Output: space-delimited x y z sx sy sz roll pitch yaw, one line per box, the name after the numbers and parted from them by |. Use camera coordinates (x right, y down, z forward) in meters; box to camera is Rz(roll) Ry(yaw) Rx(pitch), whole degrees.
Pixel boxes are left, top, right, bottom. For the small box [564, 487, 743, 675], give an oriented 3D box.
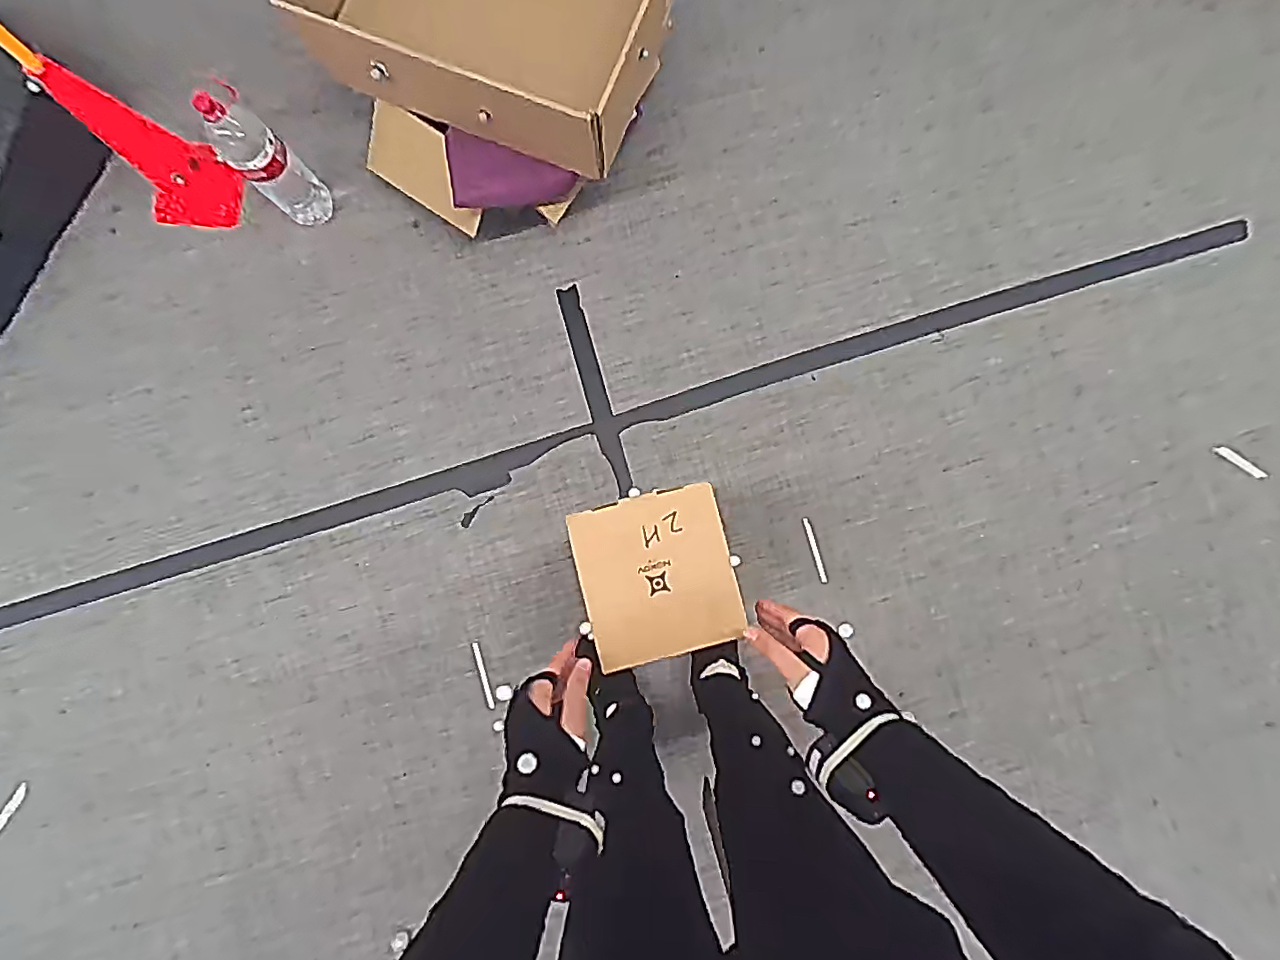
0.014 0.114 0.666 0.168 0.176 0.179 -14 85 -2 | small box
